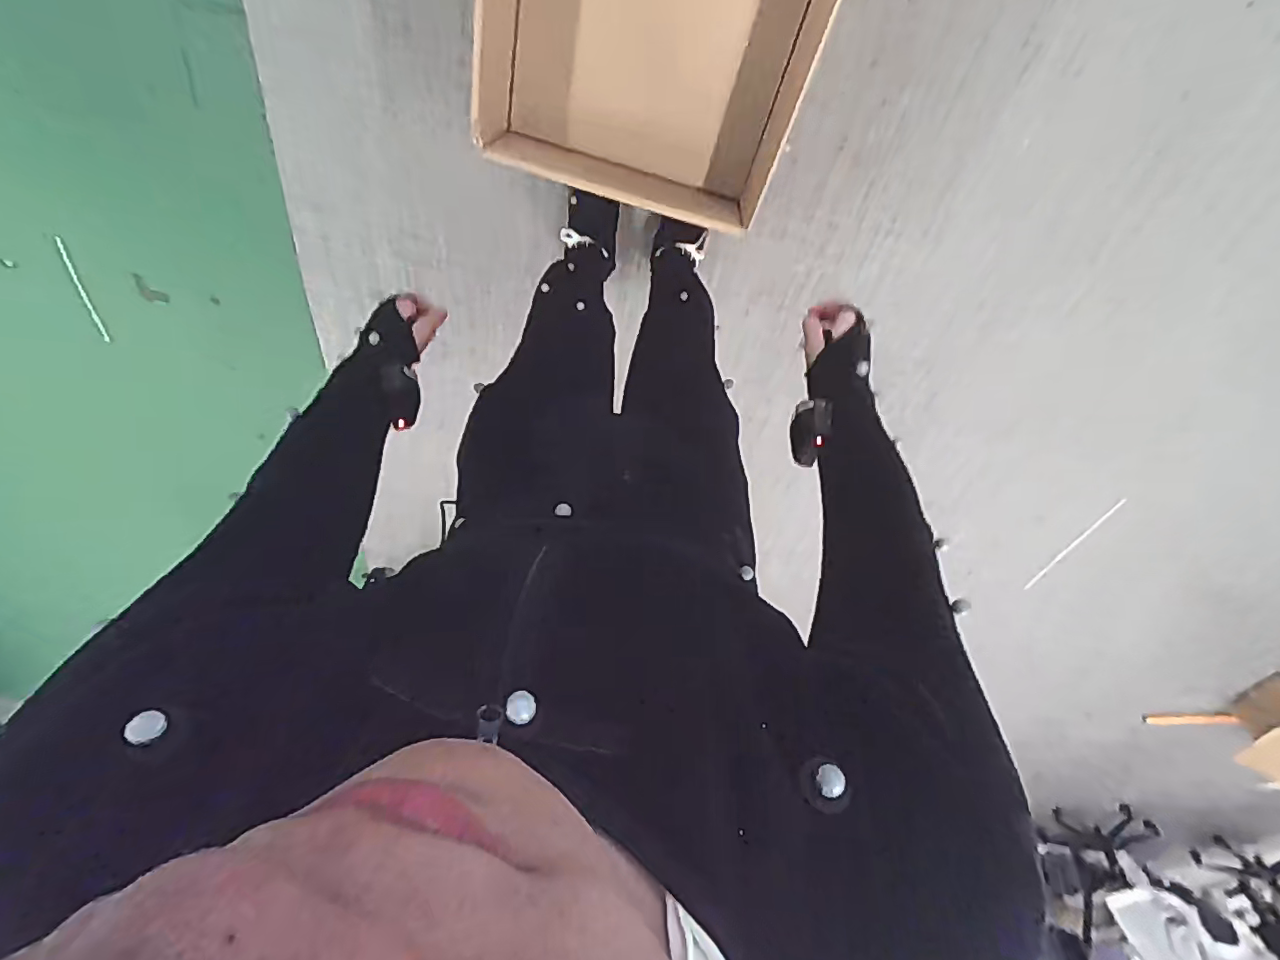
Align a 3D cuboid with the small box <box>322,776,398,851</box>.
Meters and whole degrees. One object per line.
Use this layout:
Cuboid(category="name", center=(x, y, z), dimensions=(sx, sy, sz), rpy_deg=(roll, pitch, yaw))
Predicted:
Cuboid(category="small box", center=(-0.943, 1.127, 1.832), dimensions=(0.179, 0.176, 0.168), rpy_deg=(14, 131, -9))
